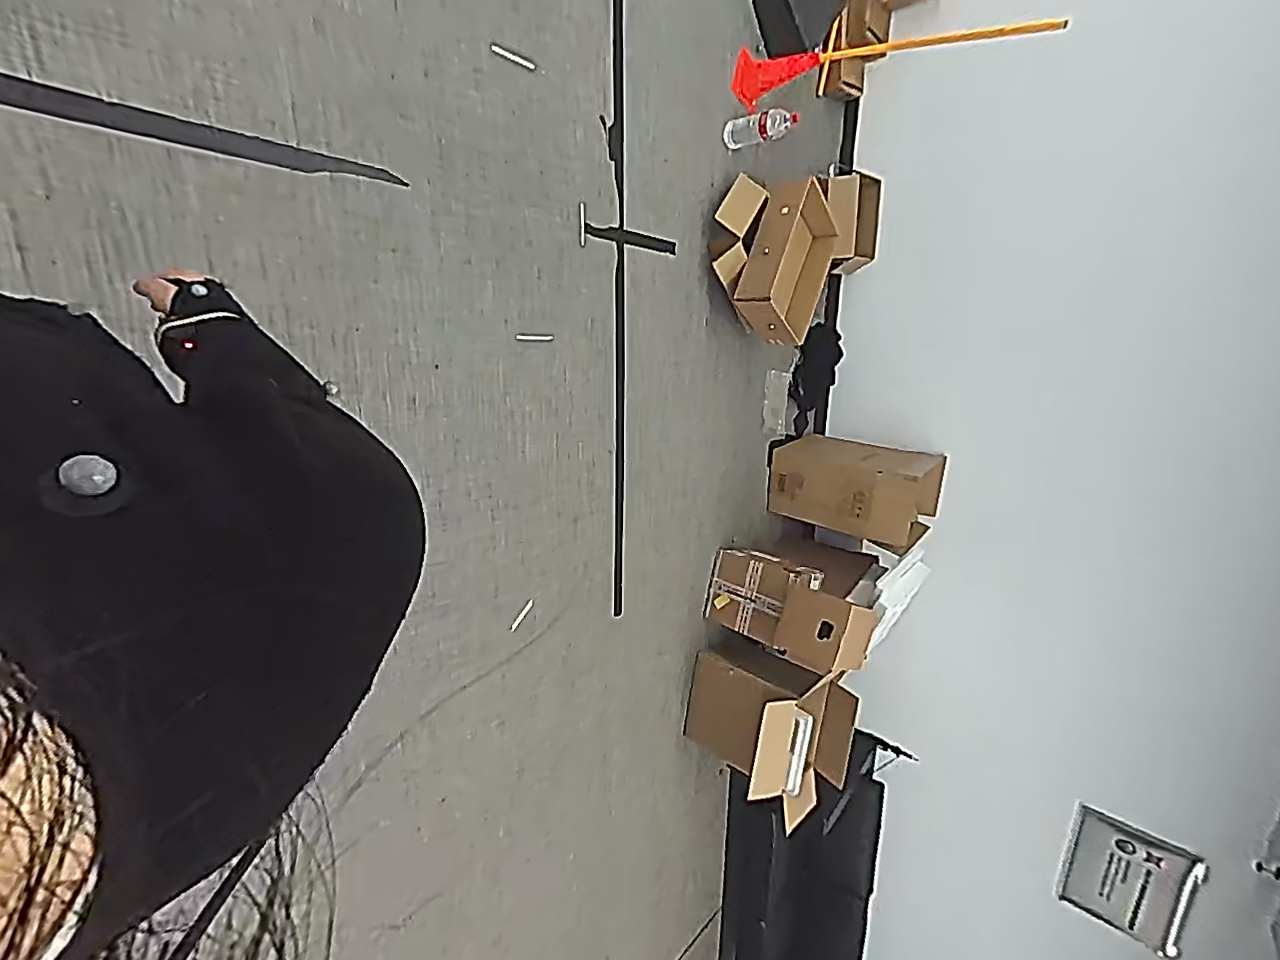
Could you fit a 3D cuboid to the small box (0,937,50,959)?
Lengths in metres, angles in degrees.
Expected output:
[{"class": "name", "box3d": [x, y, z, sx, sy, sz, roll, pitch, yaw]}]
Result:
[{"class": "small box", "box3d": [-1.290, 1.069, 1.072, 0.168, 0.176, 0.179, -18, 114, -45]}]
